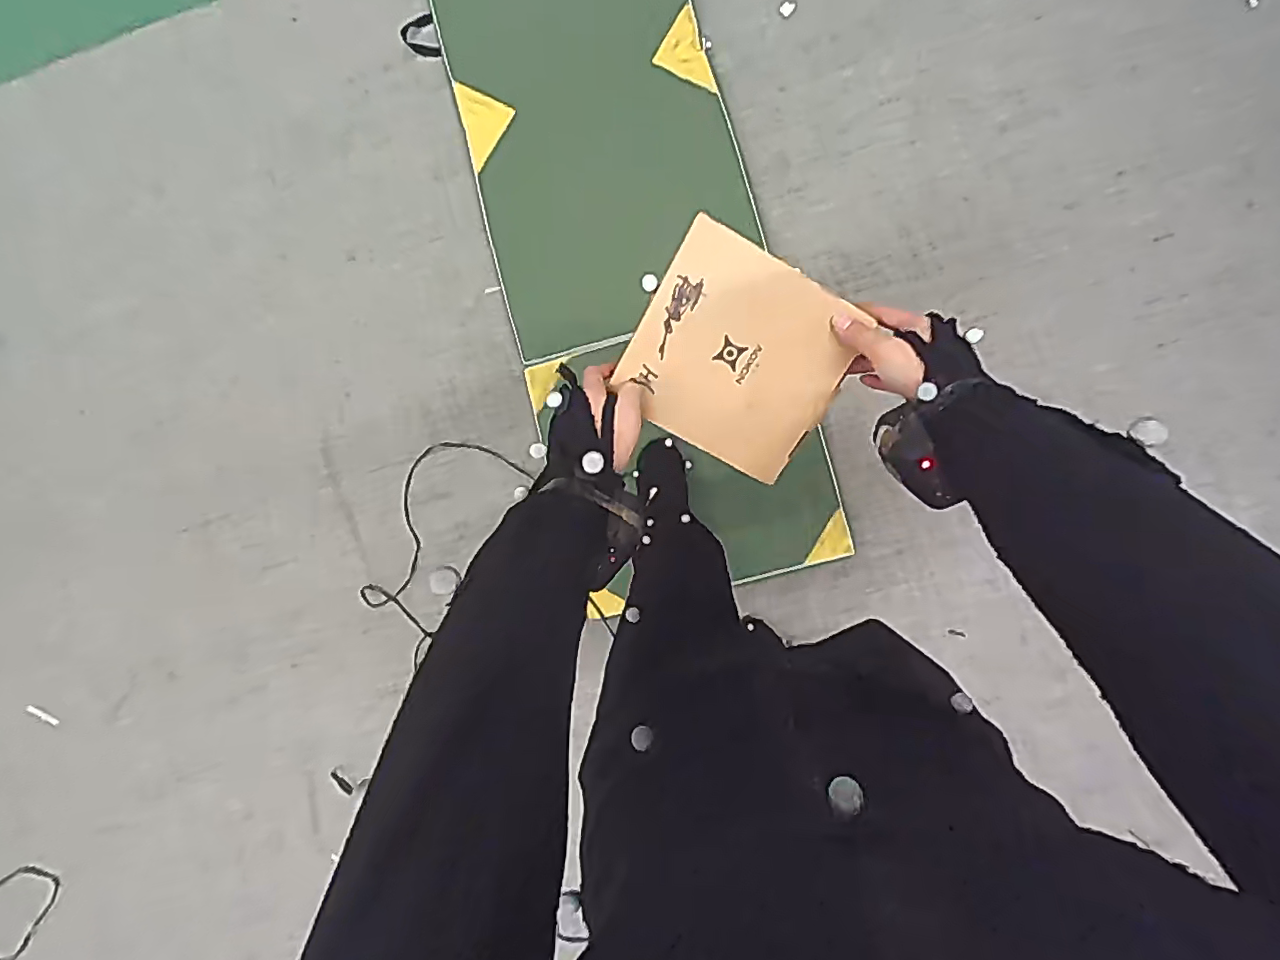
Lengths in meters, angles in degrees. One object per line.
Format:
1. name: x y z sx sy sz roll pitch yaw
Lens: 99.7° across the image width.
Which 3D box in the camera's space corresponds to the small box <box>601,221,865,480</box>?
1. small box: 0.080 -0.130 0.543 0.179 0.176 0.168 28 106 -7
